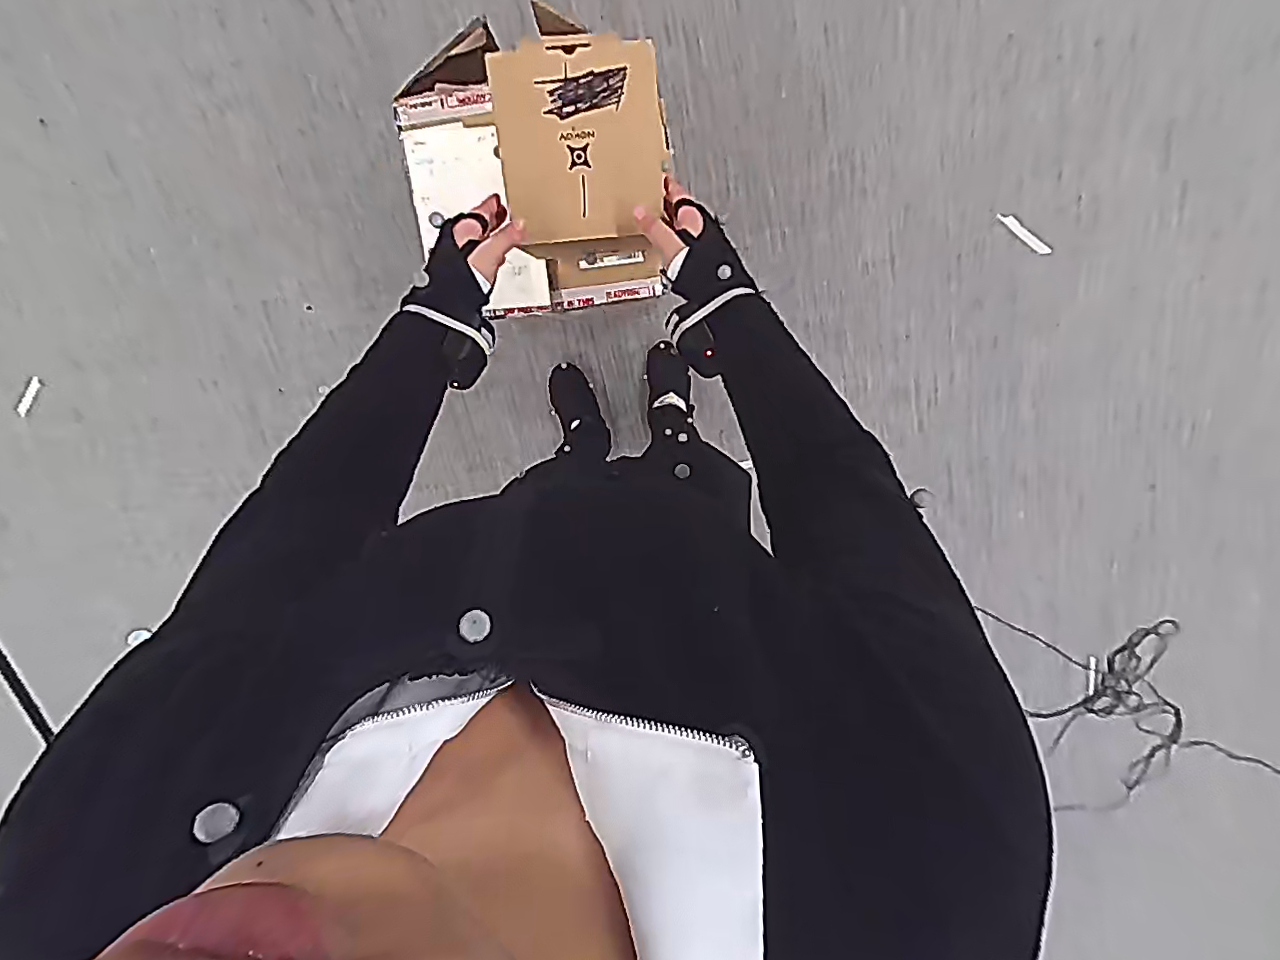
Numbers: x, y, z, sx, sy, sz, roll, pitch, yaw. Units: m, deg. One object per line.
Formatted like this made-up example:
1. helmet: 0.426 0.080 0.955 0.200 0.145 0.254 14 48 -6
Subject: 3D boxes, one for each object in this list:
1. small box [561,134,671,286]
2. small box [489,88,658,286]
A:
1. small box: -0.056 -0.386 0.799 0.179 0.176 0.168 -8 108 1
2. small box: -0.070 -0.331 0.643 0.168 0.176 0.179 -5 109 -1
